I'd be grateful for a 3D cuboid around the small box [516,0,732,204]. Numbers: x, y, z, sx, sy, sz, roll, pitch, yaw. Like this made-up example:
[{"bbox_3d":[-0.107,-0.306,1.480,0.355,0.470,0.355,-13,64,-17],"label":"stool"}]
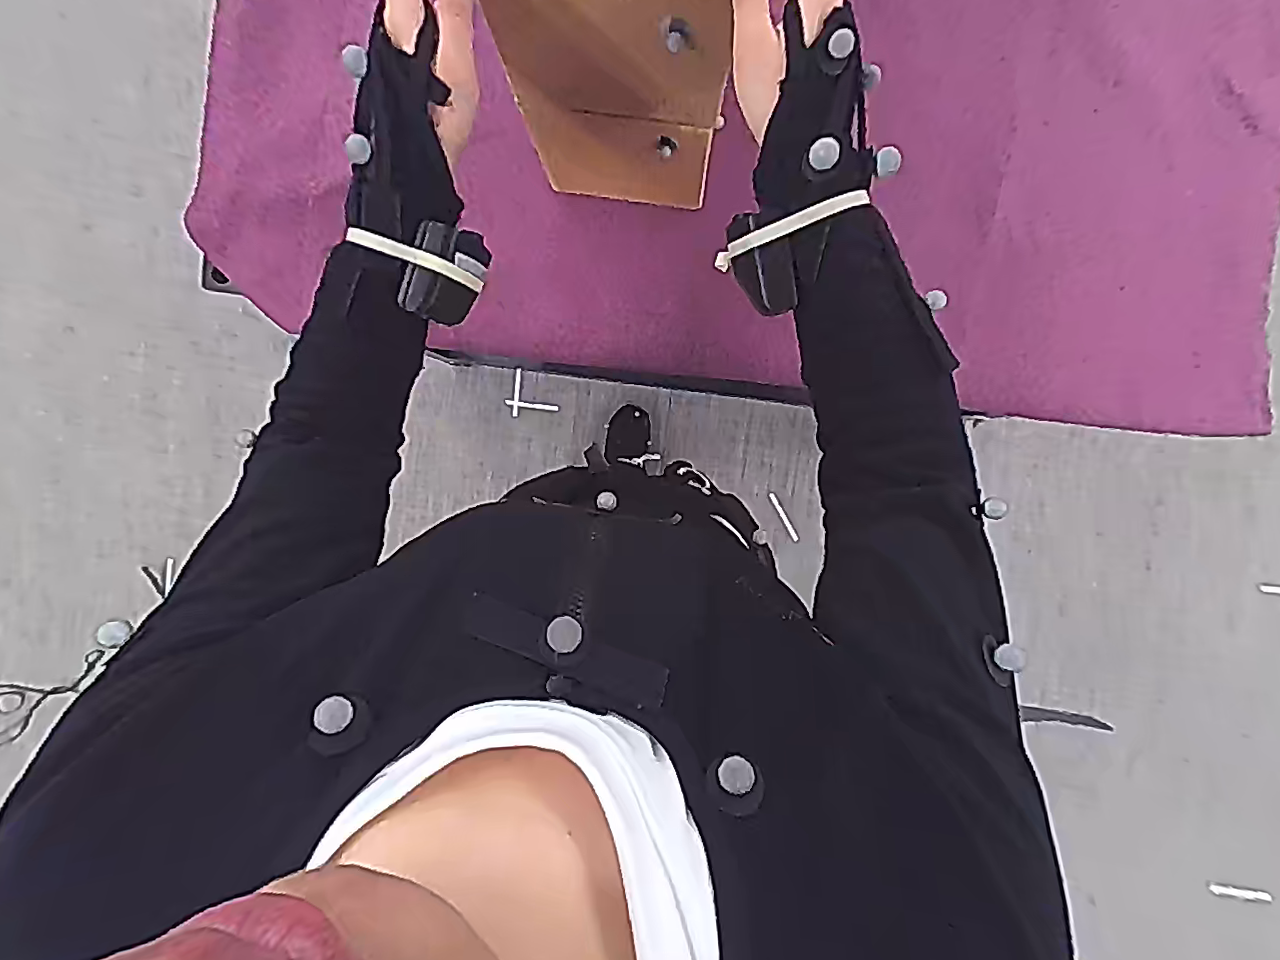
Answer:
[{"bbox_3d":[-0.009,-0.402,0.543,0.179,0.176,0.168,8,94,0],"label":"small box"}]
